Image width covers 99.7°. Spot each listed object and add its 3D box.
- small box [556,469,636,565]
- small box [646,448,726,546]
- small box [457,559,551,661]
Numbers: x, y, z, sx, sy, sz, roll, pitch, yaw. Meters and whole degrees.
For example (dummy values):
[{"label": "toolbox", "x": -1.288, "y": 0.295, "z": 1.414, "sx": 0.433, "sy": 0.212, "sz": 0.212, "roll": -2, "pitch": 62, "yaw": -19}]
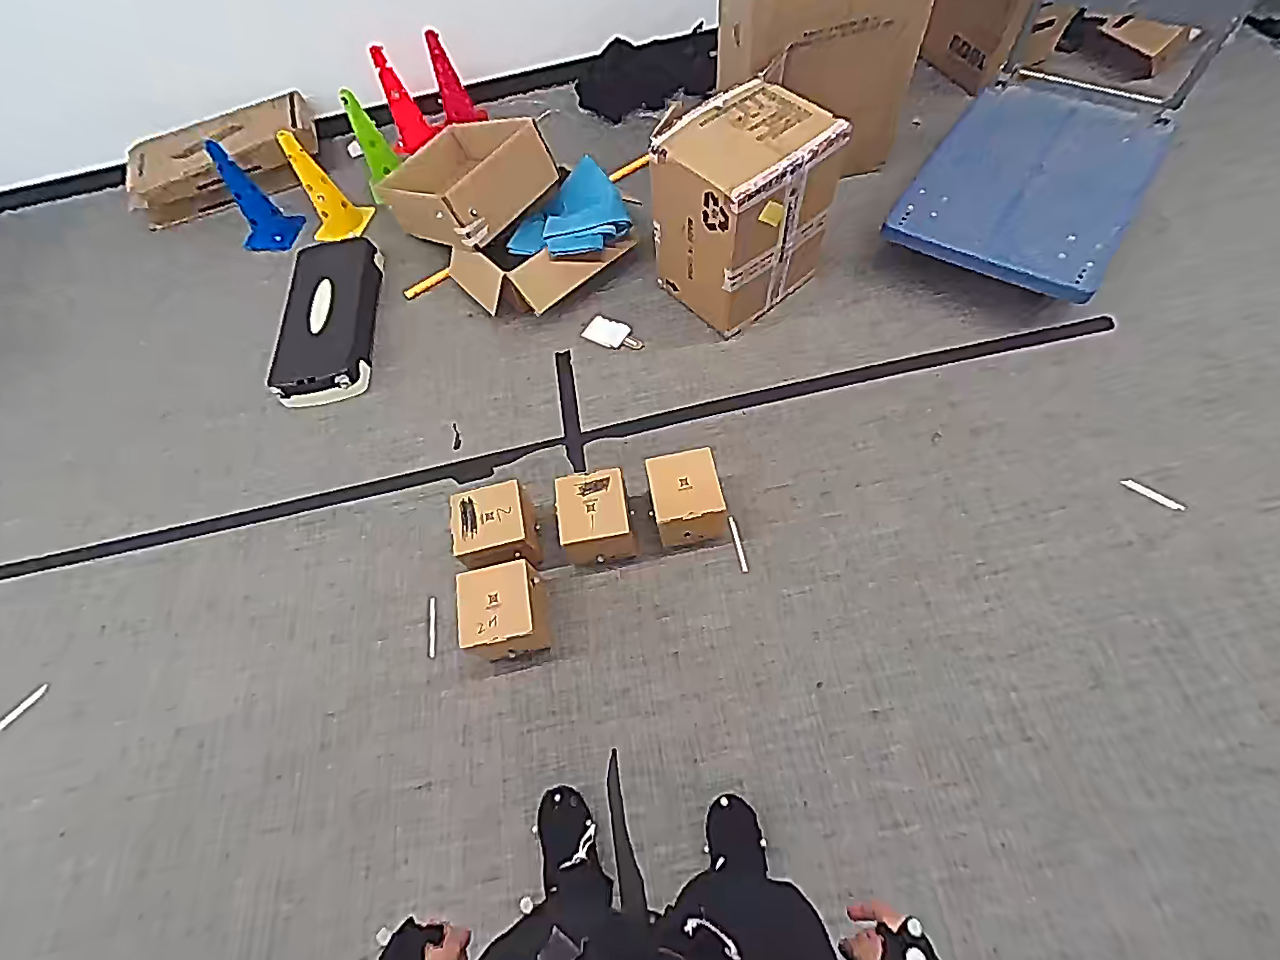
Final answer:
[{"label": "small box", "x": -0.108, "y": 0.097, "z": 1.355, "sx": 0.168, "sy": 0.176, "sz": 0.179, "roll": -10, "pitch": 63, "yaw": 1}, {"label": "small box", "x": 0.113, "y": 0.046, "z": 1.360, "sx": 0.168, "sy": 0.176, "sz": 0.179, "roll": -12, "pitch": 63, "yaw": 0}, {"label": "small box", "x": -0.316, "y": 0.309, "z": 1.269, "sx": 0.168, "sy": 0.176, "sz": 0.179, "roll": -13, "pitch": 62, "yaw": 0}]
